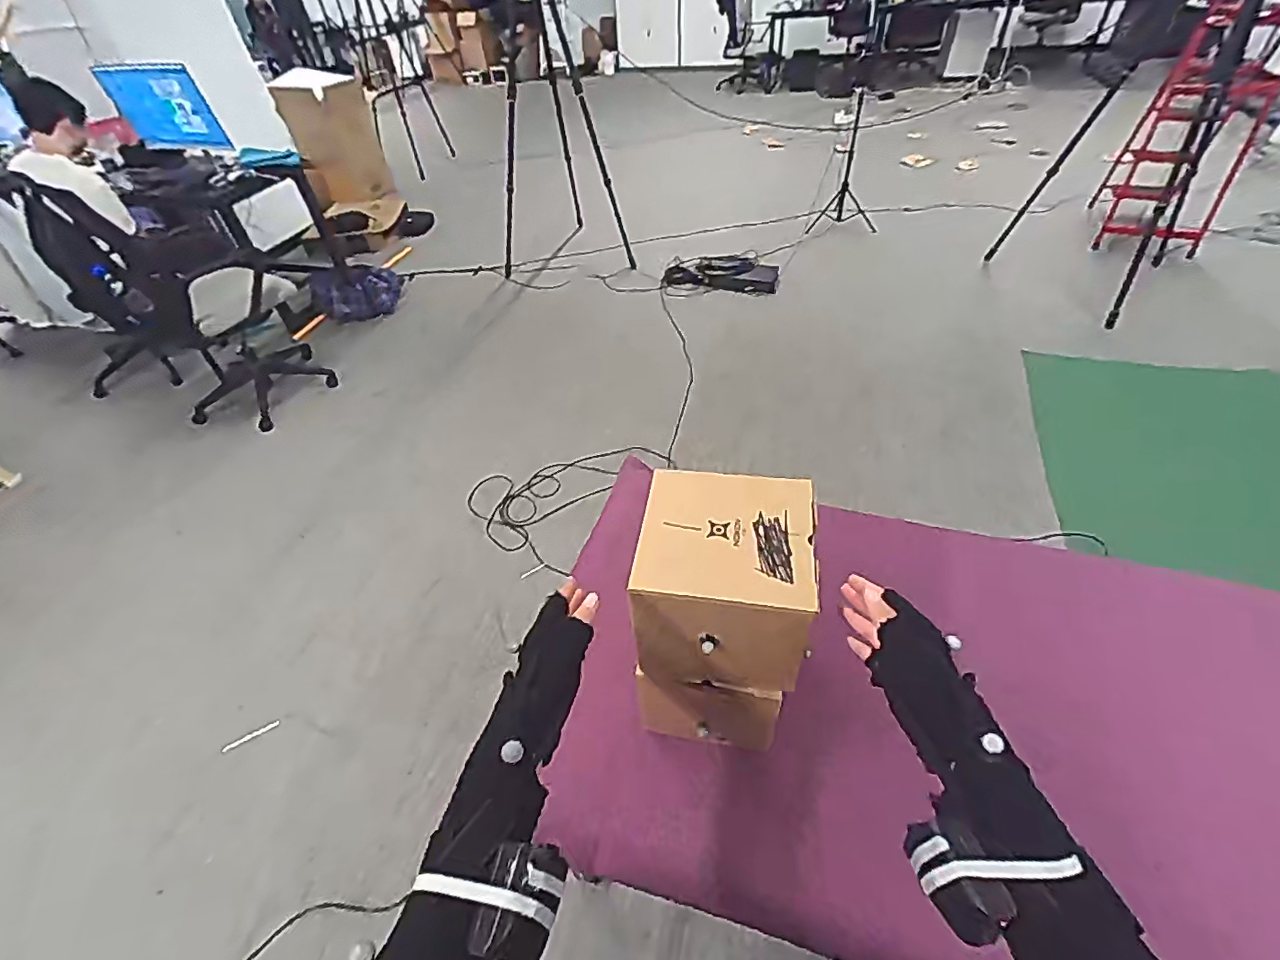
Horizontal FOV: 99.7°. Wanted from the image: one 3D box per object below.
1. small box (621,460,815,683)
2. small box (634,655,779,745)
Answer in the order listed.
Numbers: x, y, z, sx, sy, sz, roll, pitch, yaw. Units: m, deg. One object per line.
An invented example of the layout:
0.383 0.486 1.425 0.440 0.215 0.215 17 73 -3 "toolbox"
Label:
0.089 0.102 0.599 0.179 0.176 0.168 7 45 12 "small box"
0.093 0.221 0.716 0.168 0.176 0.179 5 47 11 "small box"
